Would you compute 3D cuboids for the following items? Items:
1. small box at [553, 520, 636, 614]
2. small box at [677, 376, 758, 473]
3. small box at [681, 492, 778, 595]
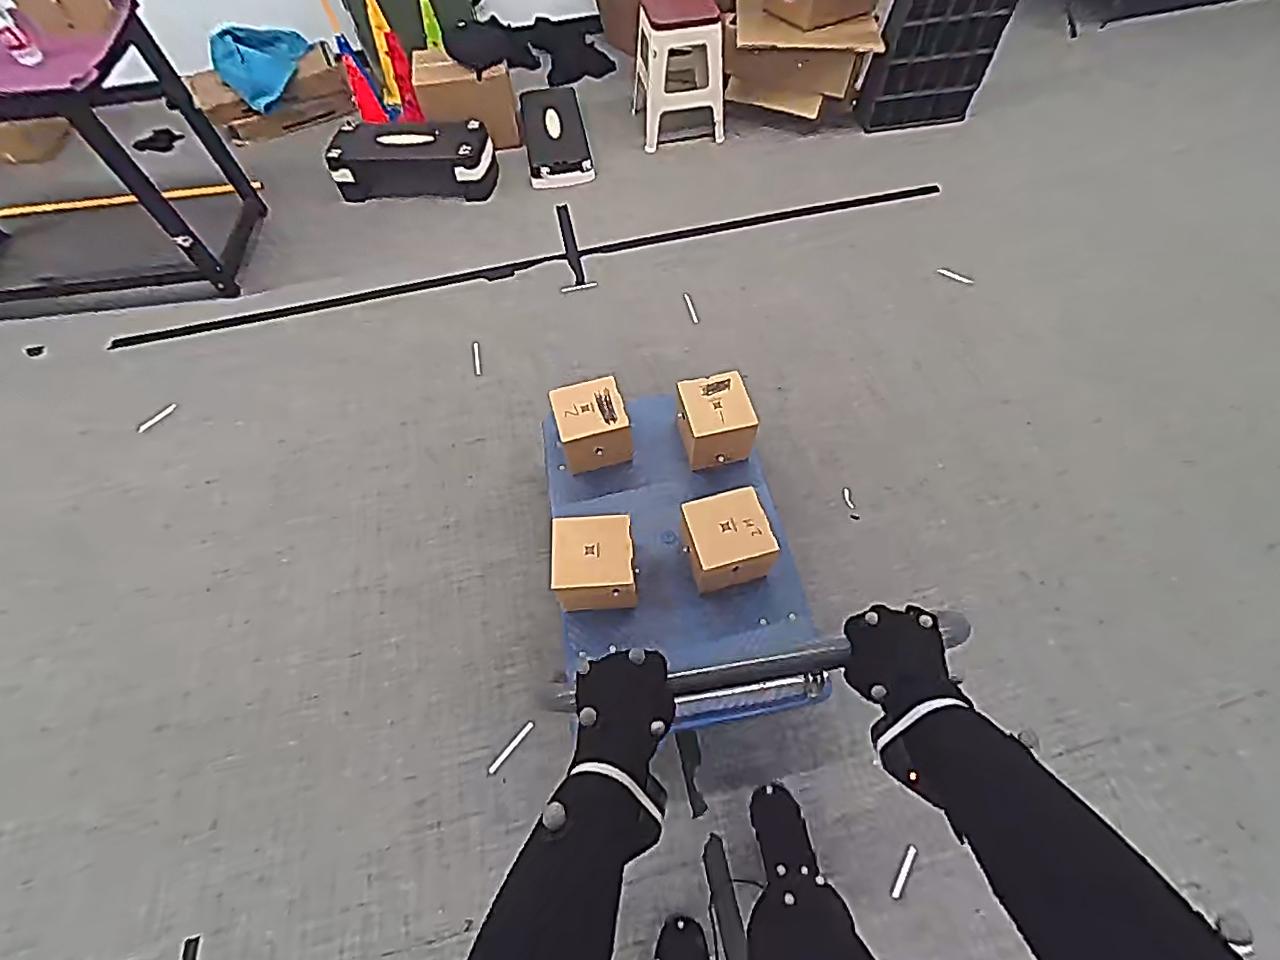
[{"bbox_3d":[-0.101,0.204,1.246,0.179,0.176,0.168,-3,60,-2],"label":"small box"},{"bbox_3d":[0.195,-0.143,1.427,0.168,0.176,0.179,-12,62,-4],"label":"small box"},{"bbox_3d":[0.200,0.153,1.263,0.179,0.176,0.168,-14,62,-6],"label":"small box"}]
